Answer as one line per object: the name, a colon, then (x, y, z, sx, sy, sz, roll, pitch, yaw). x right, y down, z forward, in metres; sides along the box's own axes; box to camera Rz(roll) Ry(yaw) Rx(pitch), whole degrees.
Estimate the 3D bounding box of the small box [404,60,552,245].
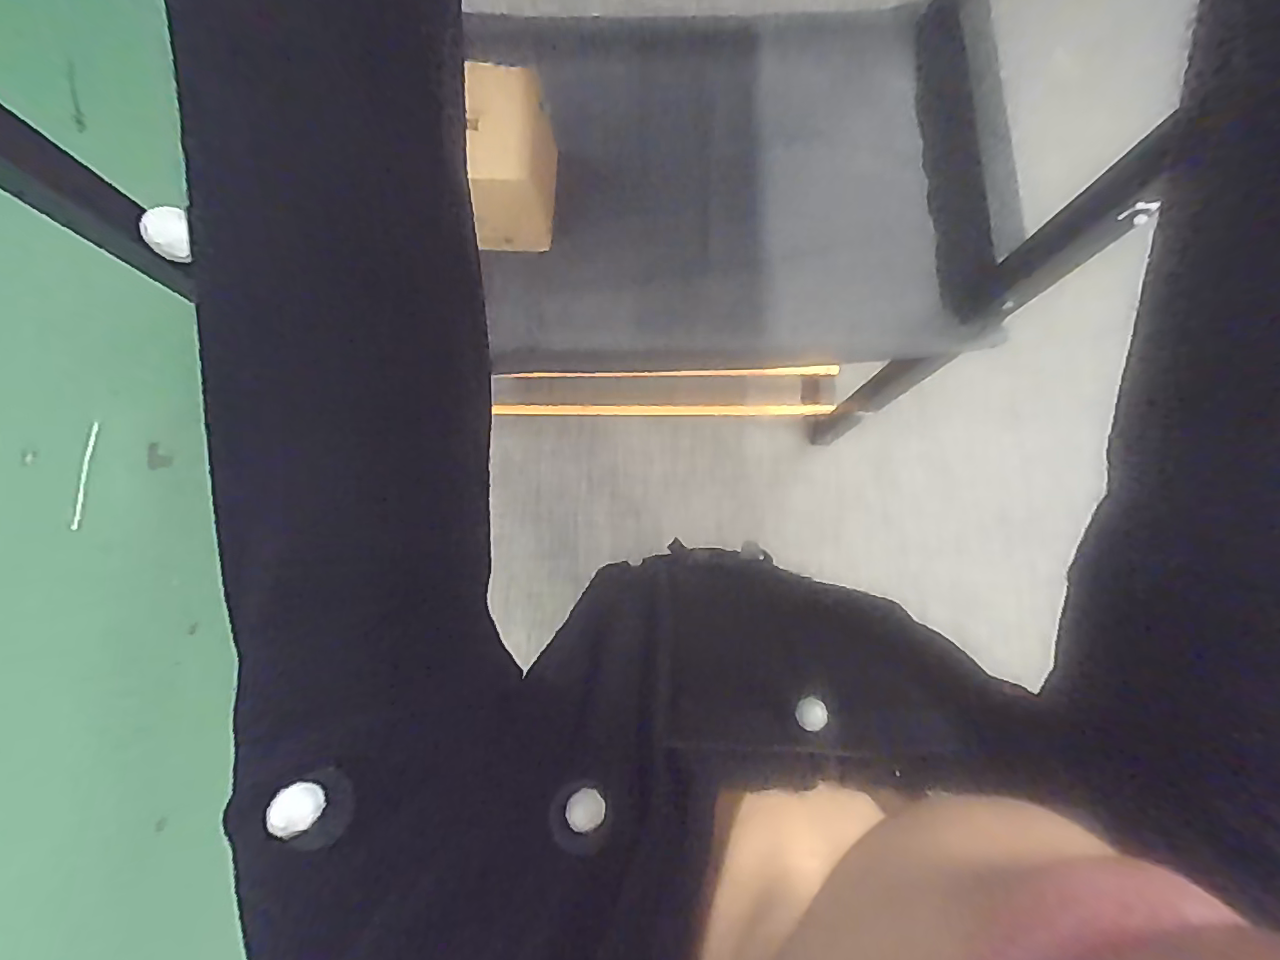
small box: (-0.227, -0.473, 0.802, 0.168, 0.176, 0.179, 1, 80, 0)
